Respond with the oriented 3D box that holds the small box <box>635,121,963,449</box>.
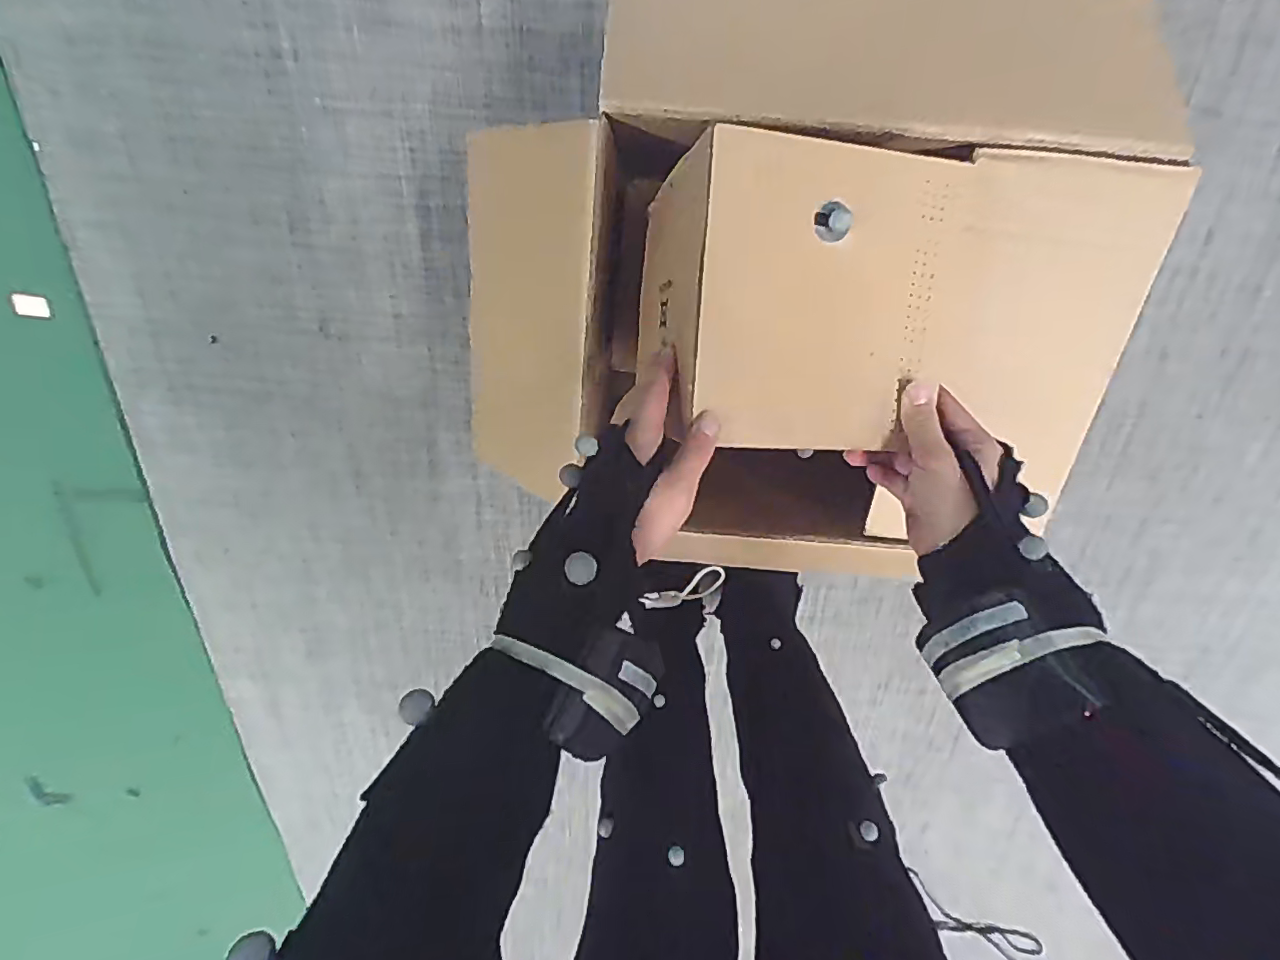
[{"bbox_3d":[0.097,-0.120,0.393,0.176,0.168,0.179,0,101,-11],"label":"small box"}]
